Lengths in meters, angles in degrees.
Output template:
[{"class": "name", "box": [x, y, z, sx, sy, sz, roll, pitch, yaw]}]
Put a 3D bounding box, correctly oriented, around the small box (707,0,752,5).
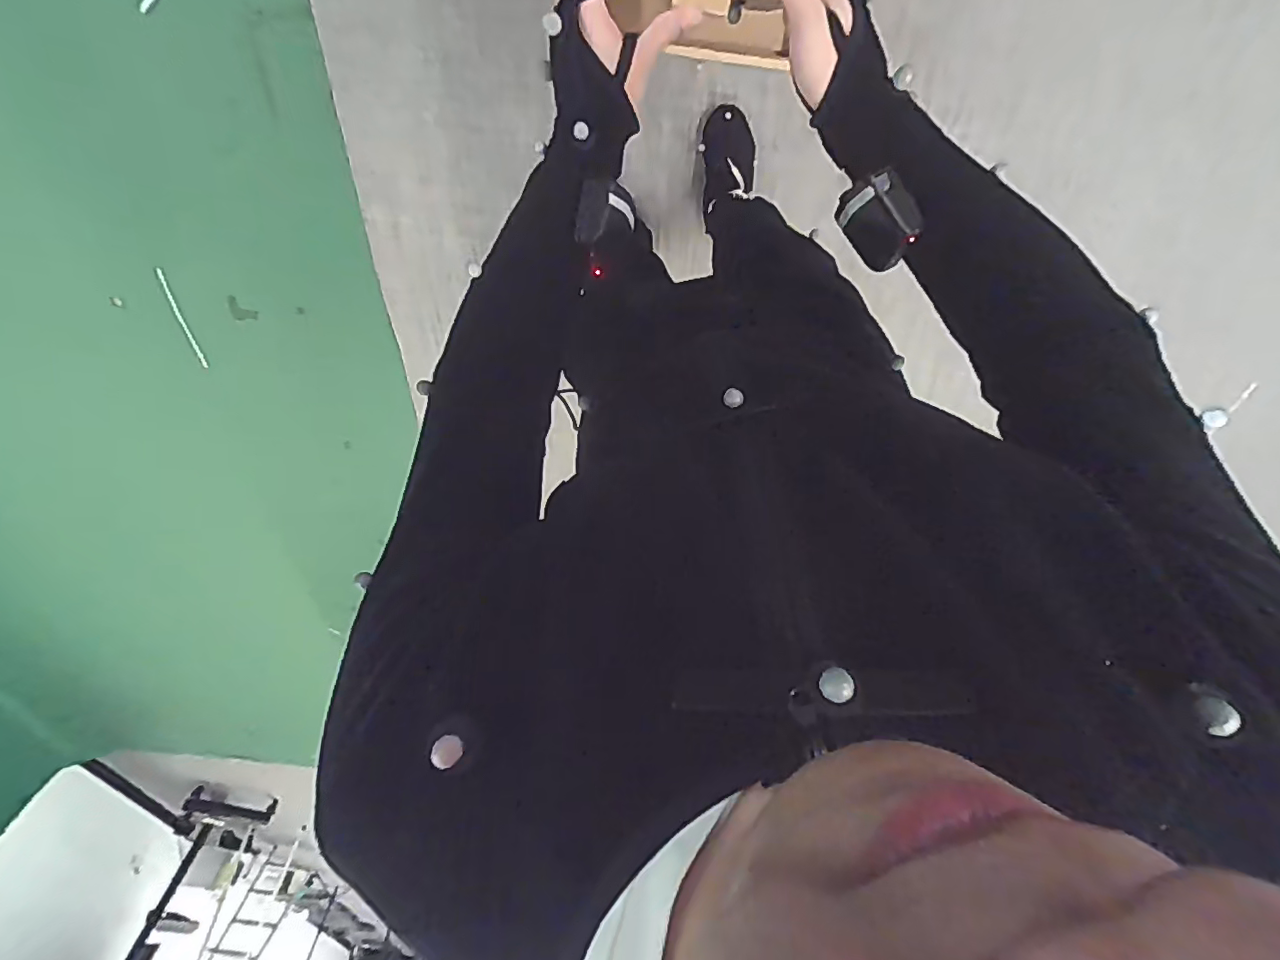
[{"class": "small box", "box": [0.083, -0.721, 0.671, 0.168, 0.176, 0.179, 8, 129, -1]}]
